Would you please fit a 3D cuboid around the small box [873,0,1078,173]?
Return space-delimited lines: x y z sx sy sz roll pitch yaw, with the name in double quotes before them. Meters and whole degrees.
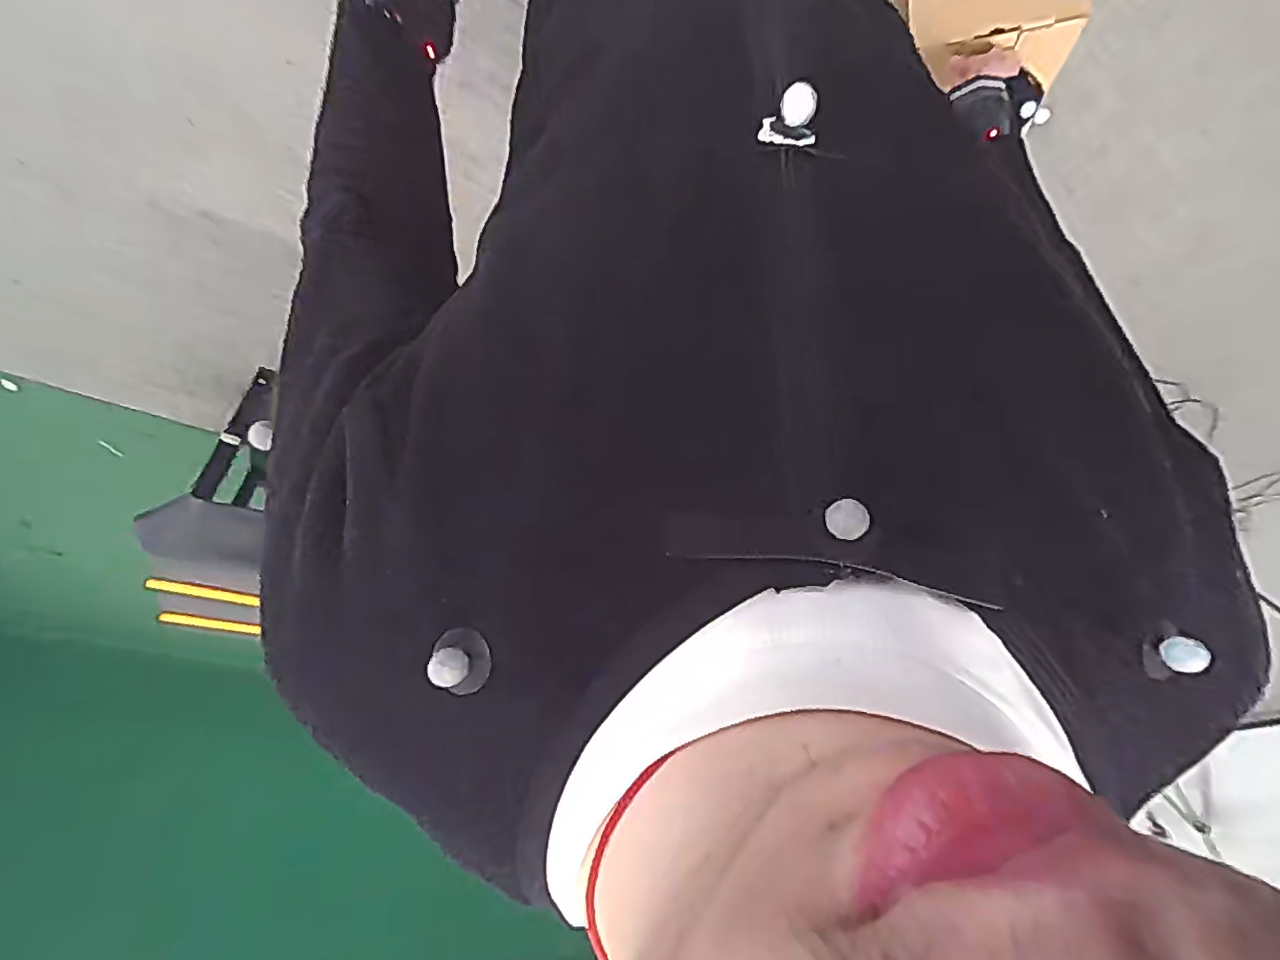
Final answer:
"small box" 0.392 -0.512 0.667 0.168 0.179 0.176 -3 163 14
